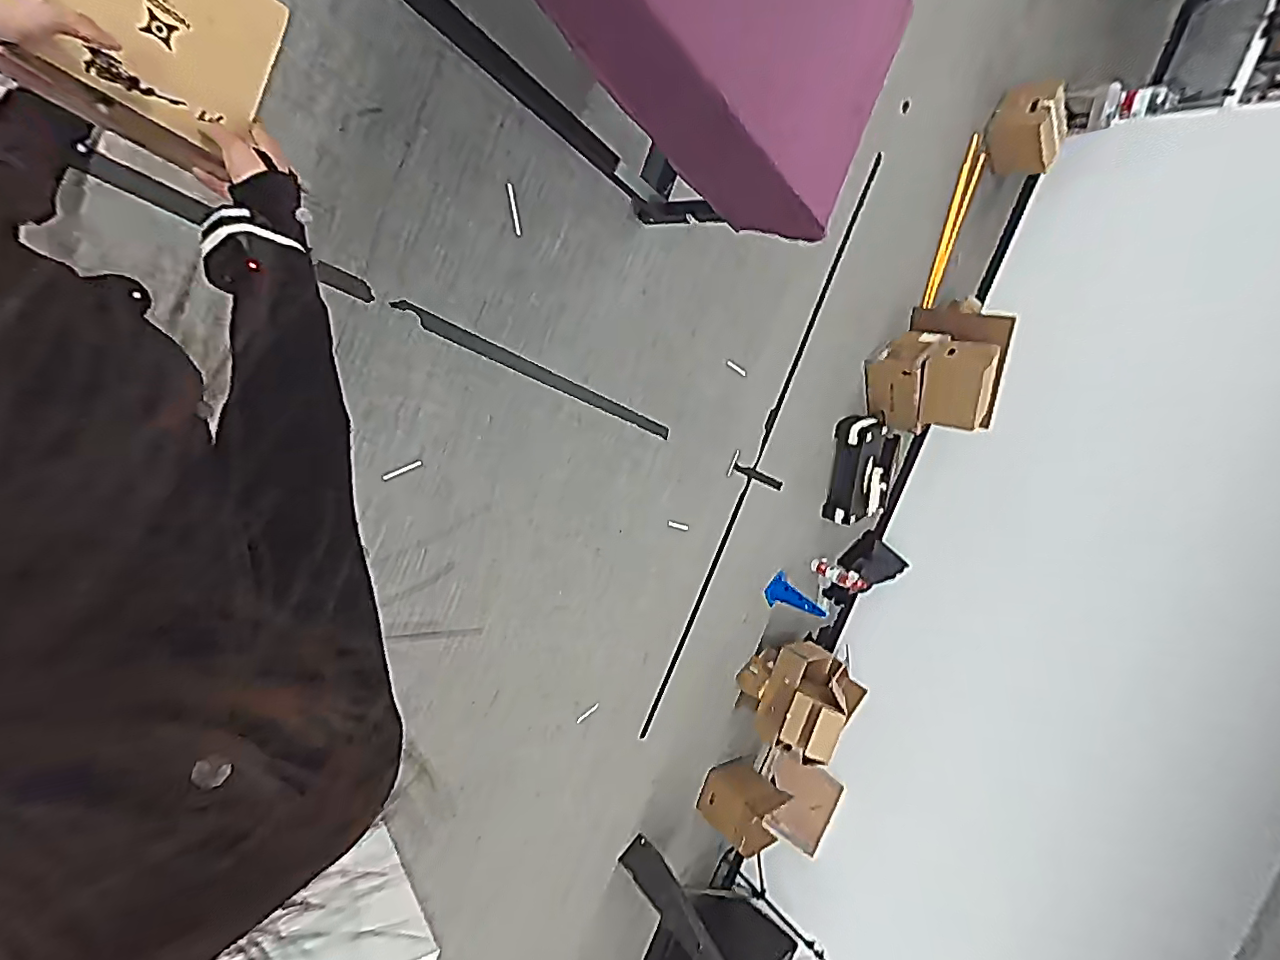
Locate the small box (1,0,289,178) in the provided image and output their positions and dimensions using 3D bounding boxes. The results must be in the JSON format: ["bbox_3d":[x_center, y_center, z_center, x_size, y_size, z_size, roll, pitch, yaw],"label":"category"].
[{"bbox_3d":[-0.498,-0.438,0.546,0.168,0.176,0.179,20,91,-51],"label":"small box"}]
